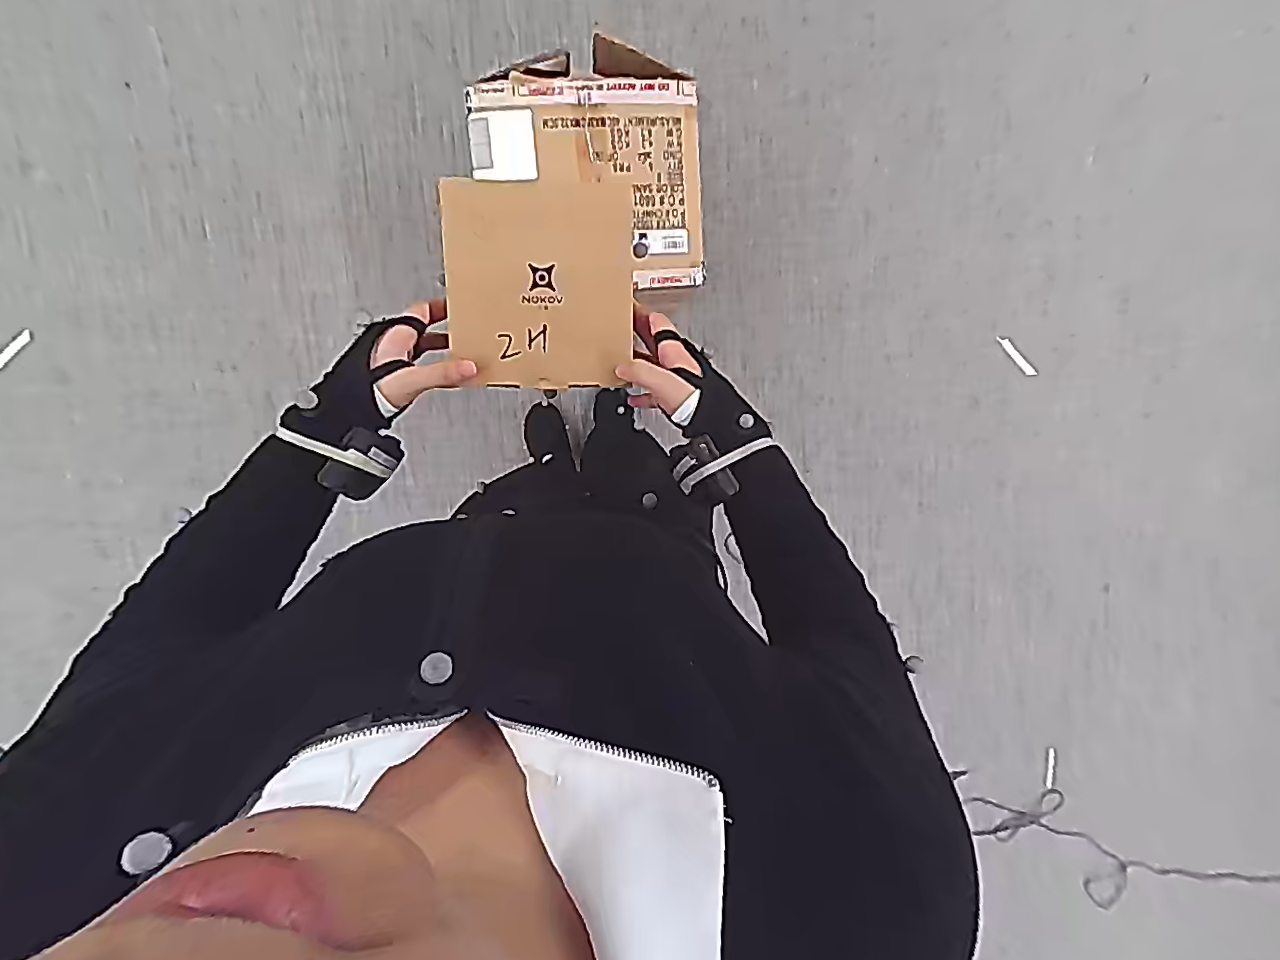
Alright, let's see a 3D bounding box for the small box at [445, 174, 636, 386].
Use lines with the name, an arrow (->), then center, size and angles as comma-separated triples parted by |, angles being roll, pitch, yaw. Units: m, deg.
small box -> -0.096, -0.187, 0.557 | 0.168, 0.176, 0.179 | 0, 101, -6
